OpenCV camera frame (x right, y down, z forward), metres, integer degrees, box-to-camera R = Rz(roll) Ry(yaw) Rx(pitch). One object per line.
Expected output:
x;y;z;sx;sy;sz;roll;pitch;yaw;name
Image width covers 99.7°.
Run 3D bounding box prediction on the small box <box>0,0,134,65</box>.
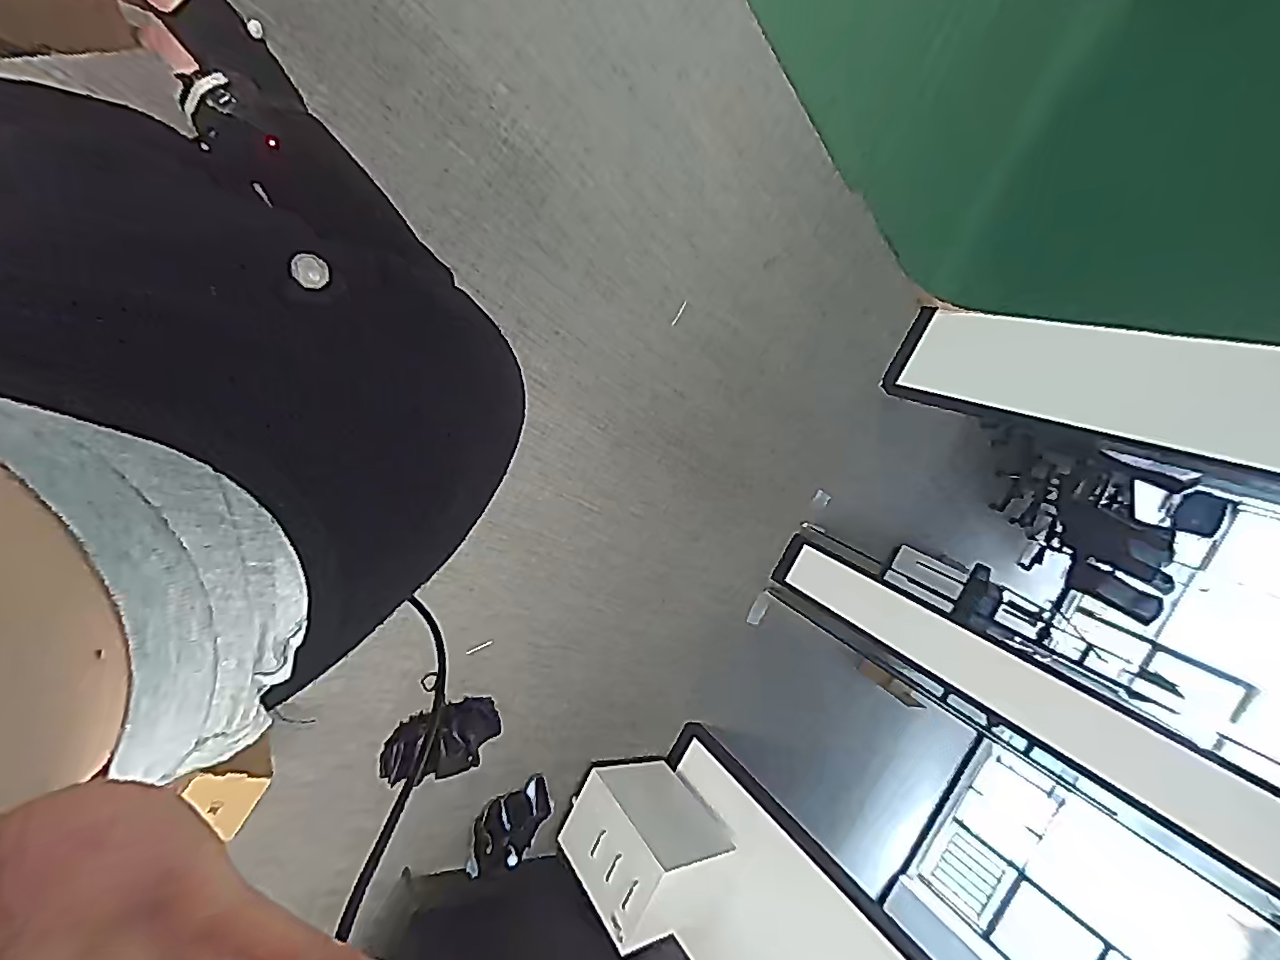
-0.478;-0.392;0.336;0.168;0.176;0.179;-21;117;-21;small box
